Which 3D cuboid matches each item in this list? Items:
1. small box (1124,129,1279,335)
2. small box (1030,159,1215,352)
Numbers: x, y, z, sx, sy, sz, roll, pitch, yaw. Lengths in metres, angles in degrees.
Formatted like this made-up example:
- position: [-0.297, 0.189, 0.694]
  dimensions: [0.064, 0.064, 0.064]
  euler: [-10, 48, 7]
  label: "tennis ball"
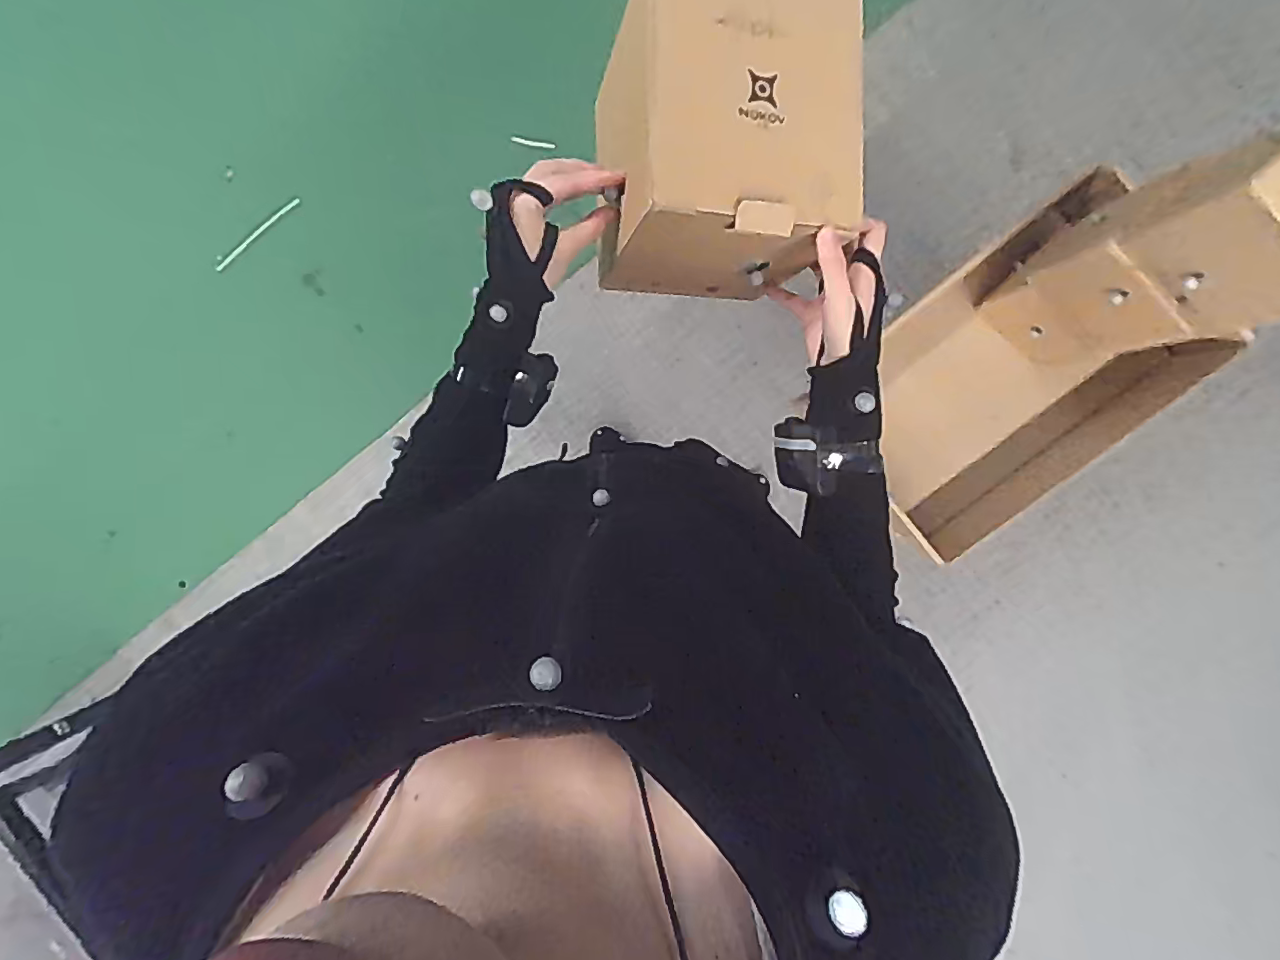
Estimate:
- position: [0.731, -0.294, 0.617]
  dimensions: [0.179, 0.176, 0.168]
  euler: [-41, 89, 6]
  label: "small box"
- position: [0.731, -0.304, 0.782]
  dimensions: [0.168, 0.176, 0.179]
  euler: [-43, 89, 6]
  label: "small box"
